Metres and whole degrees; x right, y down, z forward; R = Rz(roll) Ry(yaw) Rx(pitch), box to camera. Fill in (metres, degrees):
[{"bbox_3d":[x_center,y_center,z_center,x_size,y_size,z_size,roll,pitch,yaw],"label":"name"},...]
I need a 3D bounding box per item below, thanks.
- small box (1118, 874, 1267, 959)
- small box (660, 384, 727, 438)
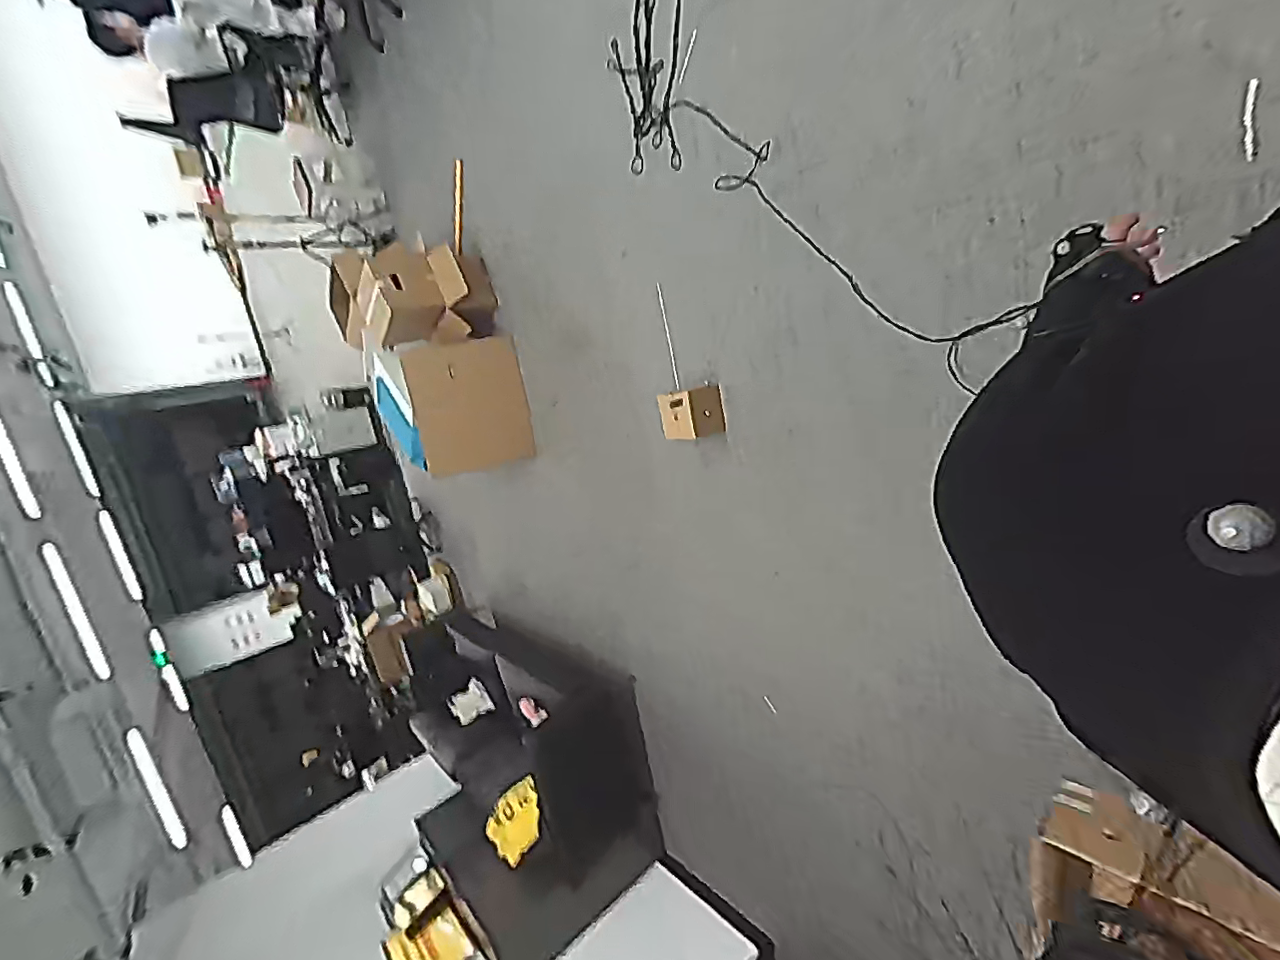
[{"bbox_3d":[0.934,0.840,0.920,0.168,0.176,0.179,8,113,48],"label":"small box"},{"bbox_3d":[0.204,-0.262,2.030,0.168,0.176,0.179,4,110,51],"label":"small box"}]
